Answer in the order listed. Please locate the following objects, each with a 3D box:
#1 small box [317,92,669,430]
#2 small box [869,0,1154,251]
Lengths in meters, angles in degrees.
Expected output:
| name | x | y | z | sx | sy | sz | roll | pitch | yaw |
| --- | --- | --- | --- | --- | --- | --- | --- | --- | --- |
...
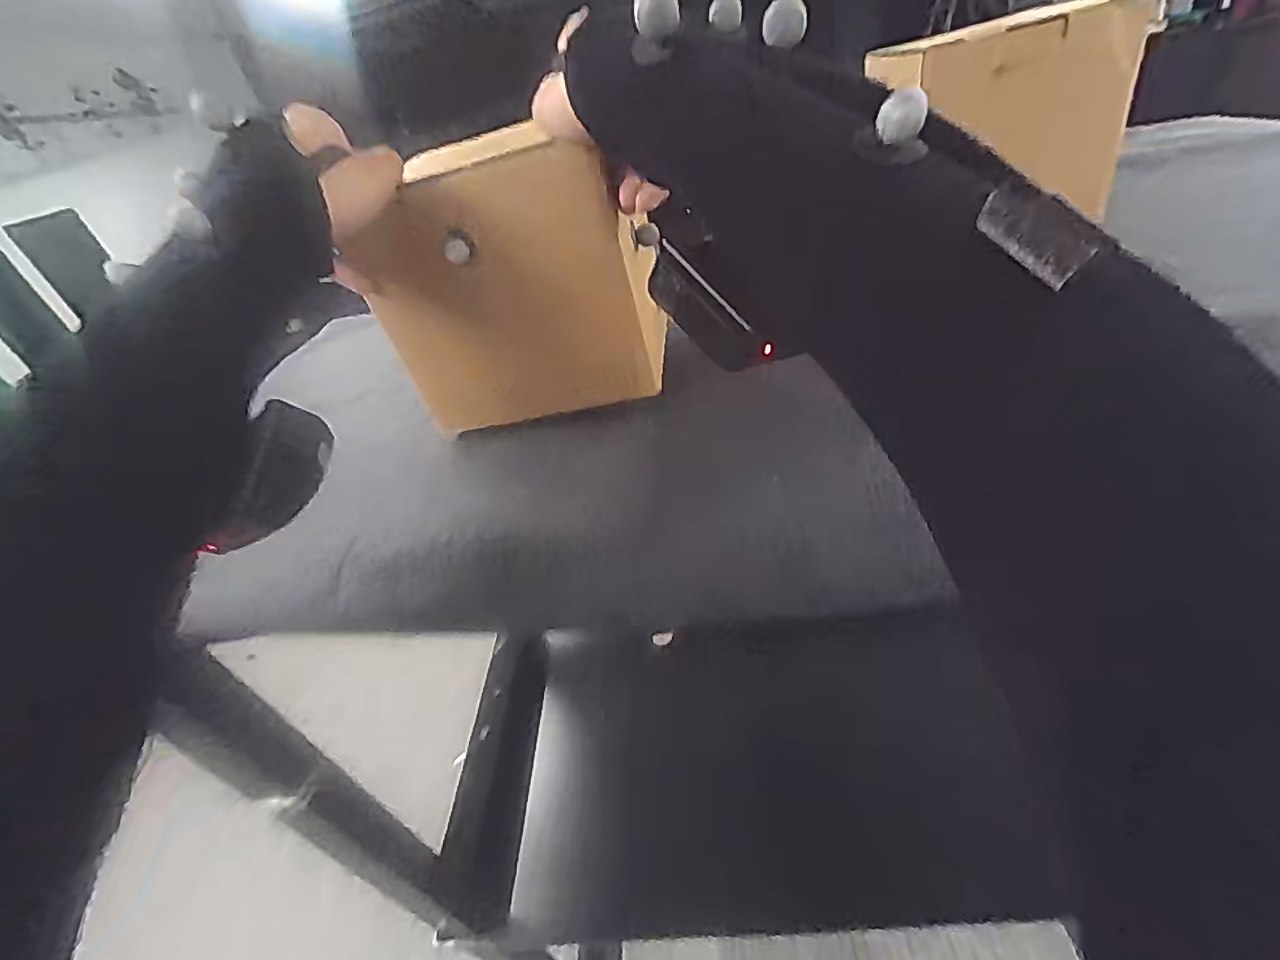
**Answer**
| name | x | y | z | sx | sy | sz | roll | pitch | yaw |
| --- | --- | --- | --- | --- | --- | --- | --- | --- | --- |
| small box | -0.079 | -0.158 | 0.404 | 0.179 | 0.176 | 0.168 | -8 | 39 | 13 |
| small box | 0.332 | -0.337 | 0.529 | 0.168 | 0.176 | 0.179 | -8 | 35 | 11 |
